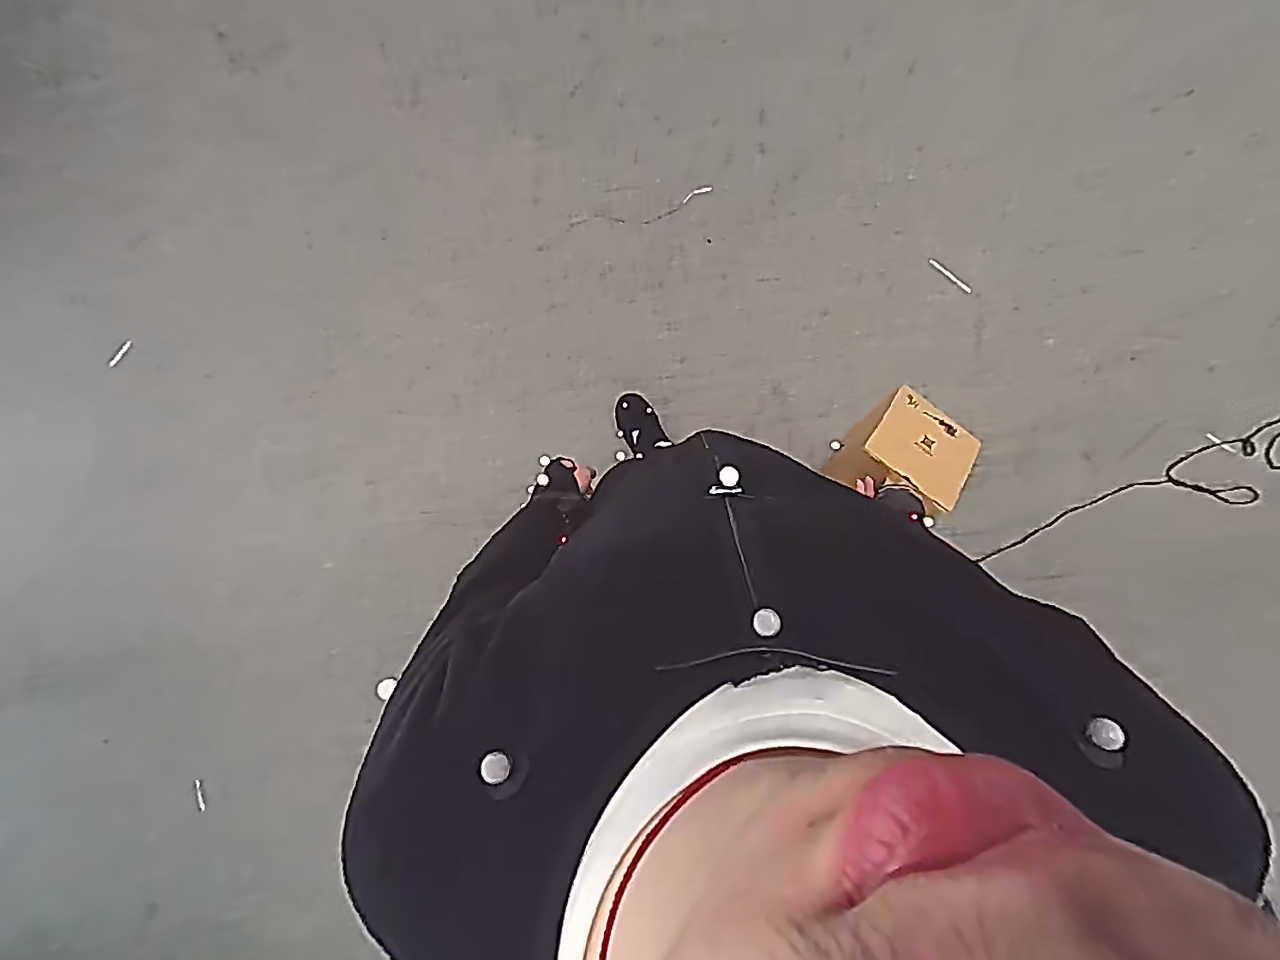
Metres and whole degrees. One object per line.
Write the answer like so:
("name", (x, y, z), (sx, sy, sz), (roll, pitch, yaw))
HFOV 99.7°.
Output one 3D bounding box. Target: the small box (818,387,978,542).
("small box", (0.441, -0.020, 0.949), (0.168, 0.176, 0.179), (37, 61, 5))
